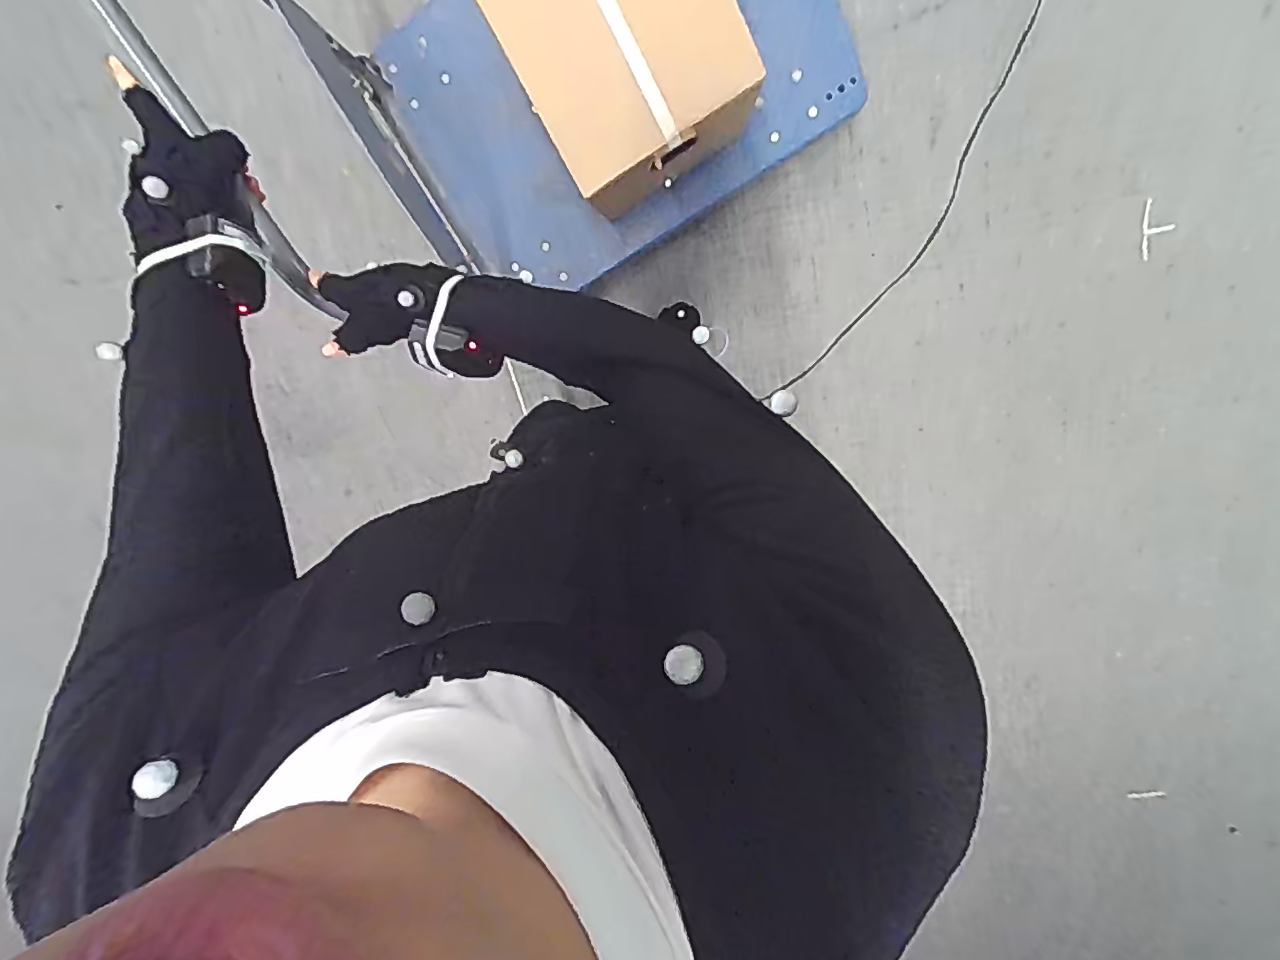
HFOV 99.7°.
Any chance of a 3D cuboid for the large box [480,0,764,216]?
[{"bbox_3d":[-0.035,-0.727,0.899,0.320,0.320,0.408,-27,104,13],"label":"large box"}]
